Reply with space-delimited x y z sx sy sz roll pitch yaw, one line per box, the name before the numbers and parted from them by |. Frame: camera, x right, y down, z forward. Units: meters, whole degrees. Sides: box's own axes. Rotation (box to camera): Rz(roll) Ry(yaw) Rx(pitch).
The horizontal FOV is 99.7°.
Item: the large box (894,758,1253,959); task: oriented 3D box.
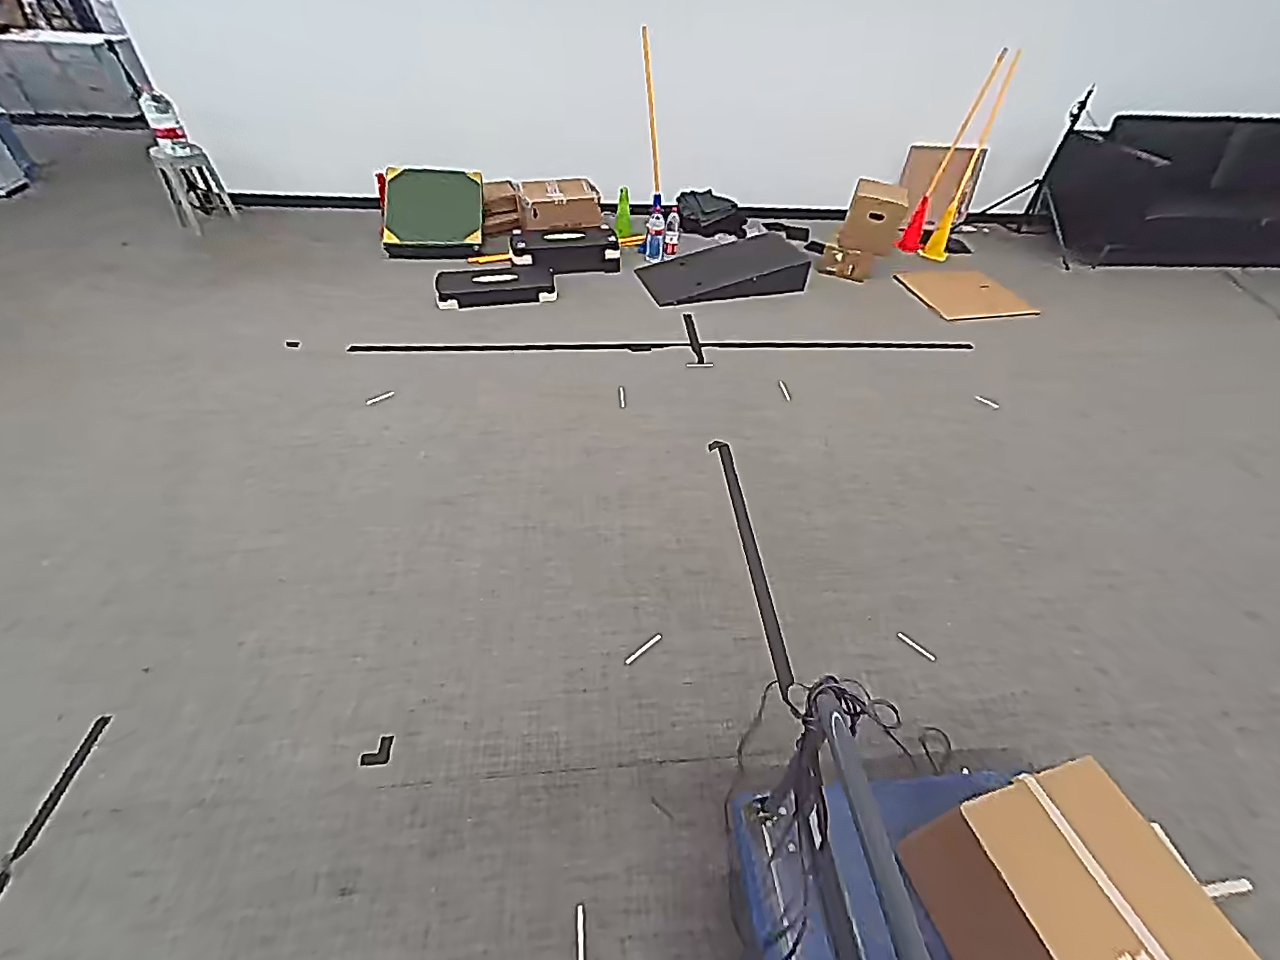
large box | 0.745 0.786 0.955 0.320 0.320 0.408 -10 47 -14
